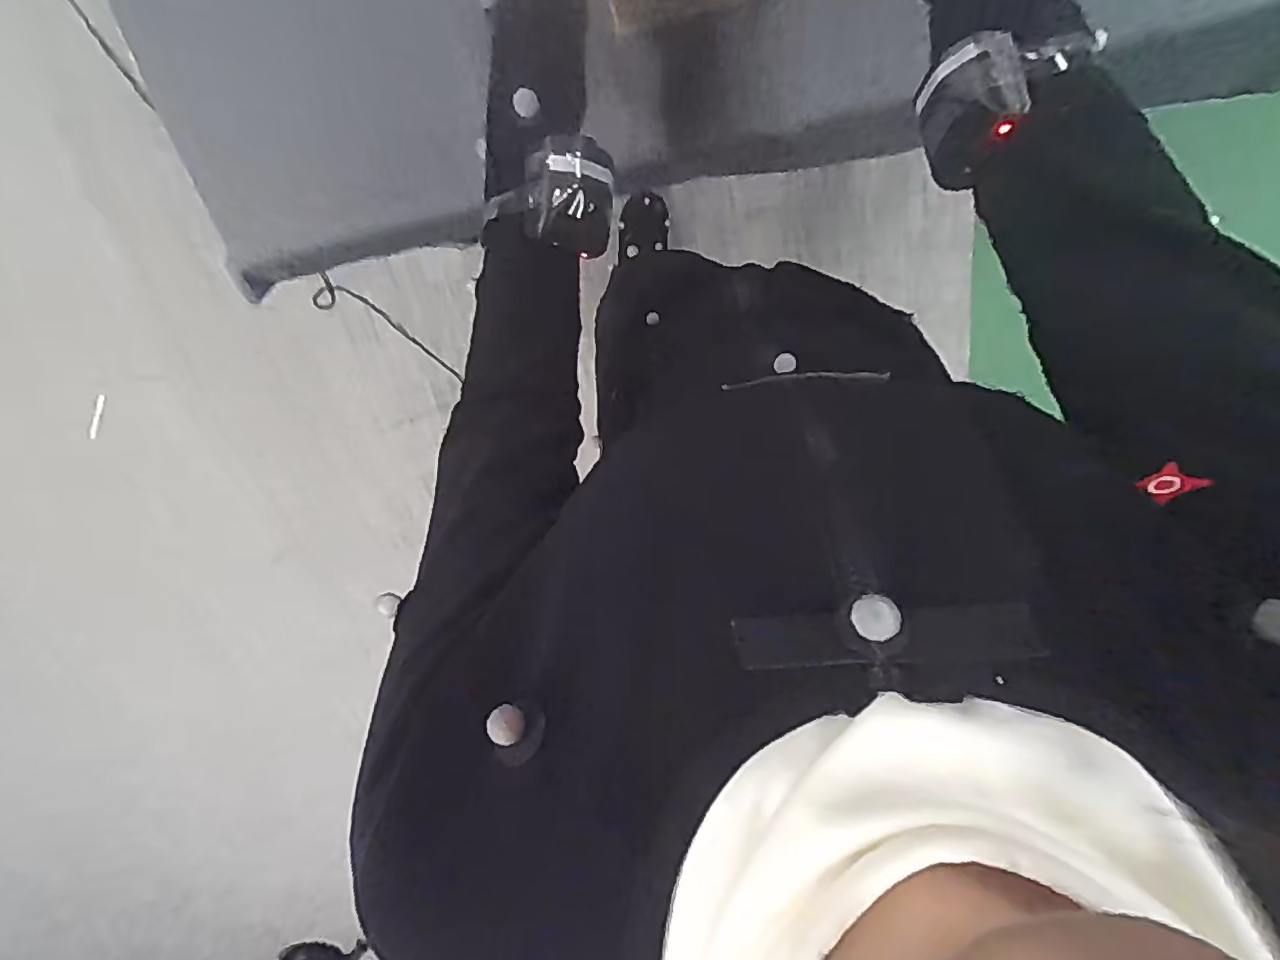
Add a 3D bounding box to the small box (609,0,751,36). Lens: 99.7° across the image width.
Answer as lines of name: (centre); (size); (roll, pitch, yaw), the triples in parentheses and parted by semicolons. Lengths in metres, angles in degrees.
small box: (0.043, -0.482, 0.406); (0.179, 0.176, 0.168); (-12, 111, 7)
